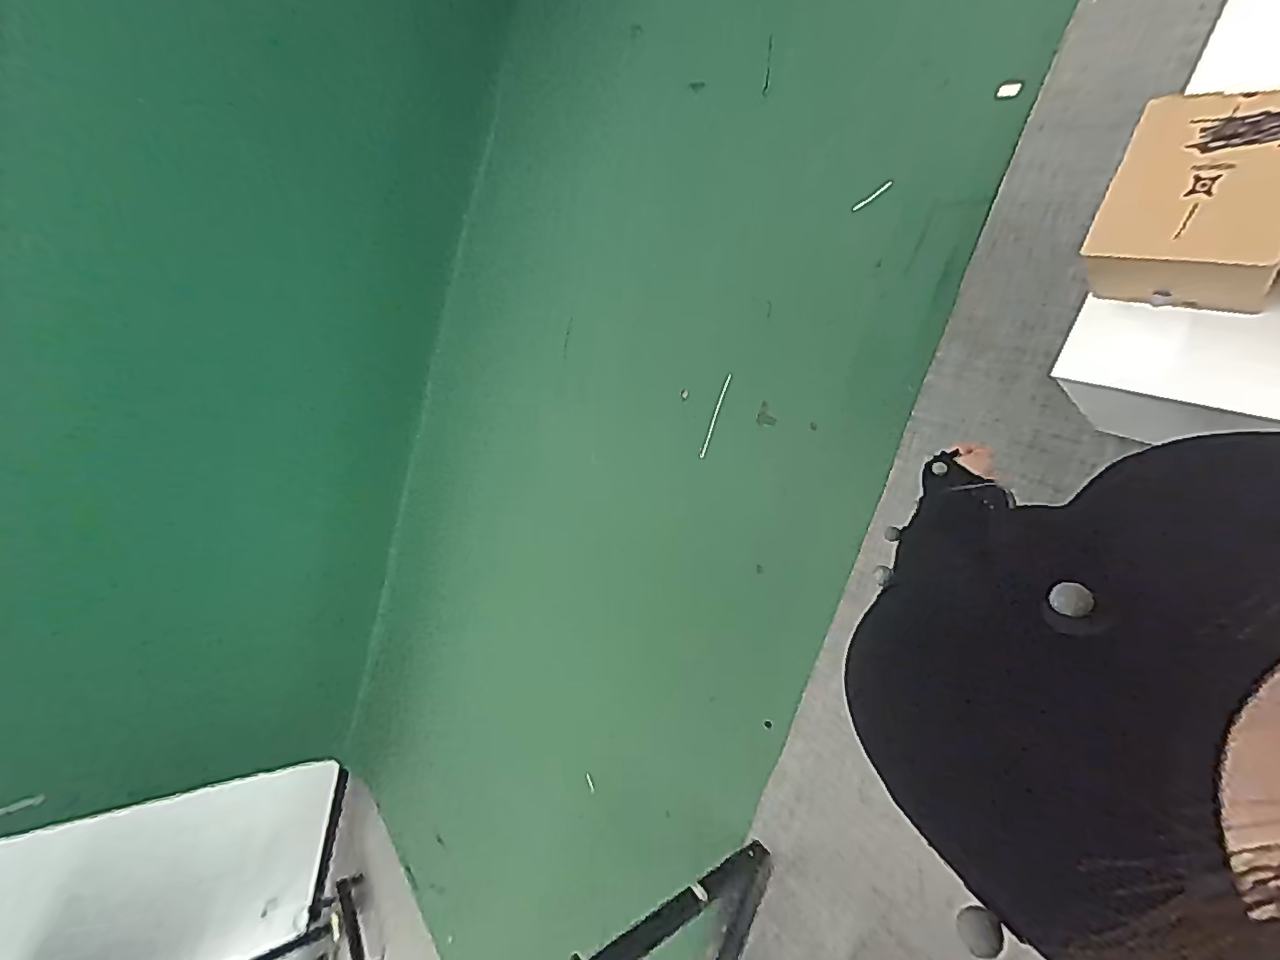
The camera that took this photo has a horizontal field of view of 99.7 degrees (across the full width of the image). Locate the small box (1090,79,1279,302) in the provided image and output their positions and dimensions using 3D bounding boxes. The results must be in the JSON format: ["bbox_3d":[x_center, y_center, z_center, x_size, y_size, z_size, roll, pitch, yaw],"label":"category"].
[{"bbox_3d":[0.665,-0.324,0.627,0.168,0.176,0.179,27,107,43],"label":"small box"}]
